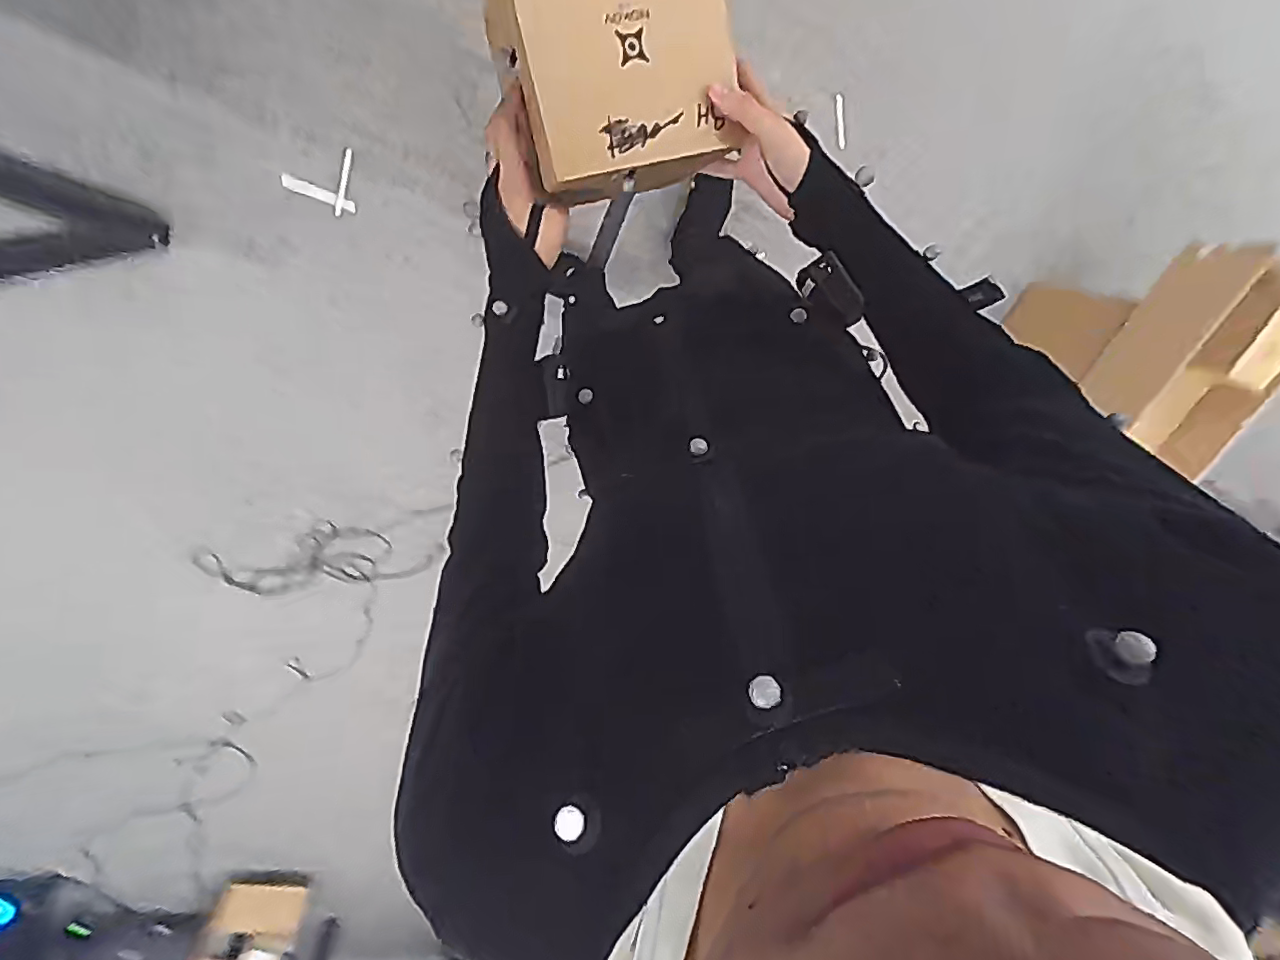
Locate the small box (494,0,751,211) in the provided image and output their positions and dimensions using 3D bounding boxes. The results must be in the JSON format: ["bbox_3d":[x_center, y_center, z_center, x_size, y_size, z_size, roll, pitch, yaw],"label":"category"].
[{"bbox_3d":[-0.024,-0.357,0.475,0.168,0.176,0.179,-17,111,-12],"label":"small box"}]

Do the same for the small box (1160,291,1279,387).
[{"bbox_3d":[1.491,-0.361,1.373,0.168,0.176,0.179,11,114,-21],"label":"small box"}]
